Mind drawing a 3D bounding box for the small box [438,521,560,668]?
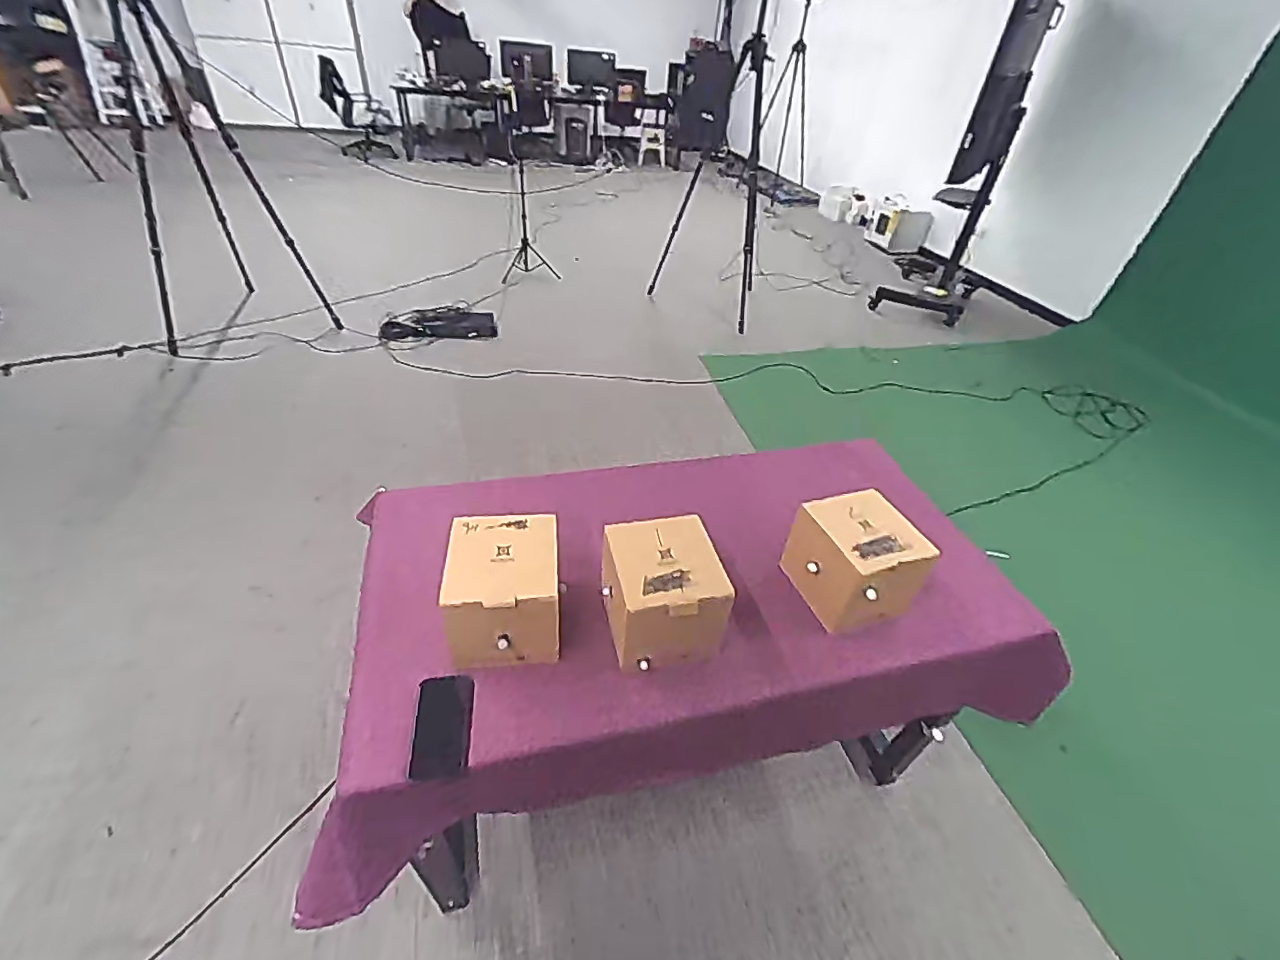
[{"bbox_3d":[-0.214,0.187,0.869,0.168,0.176,0.179,-1,40,-8],"label":"small box"}]

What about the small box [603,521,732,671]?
[{"bbox_3d":[0.035,0.194,0.890,0.168,0.176,0.179,-6,40,-14],"label":"small box"}]
